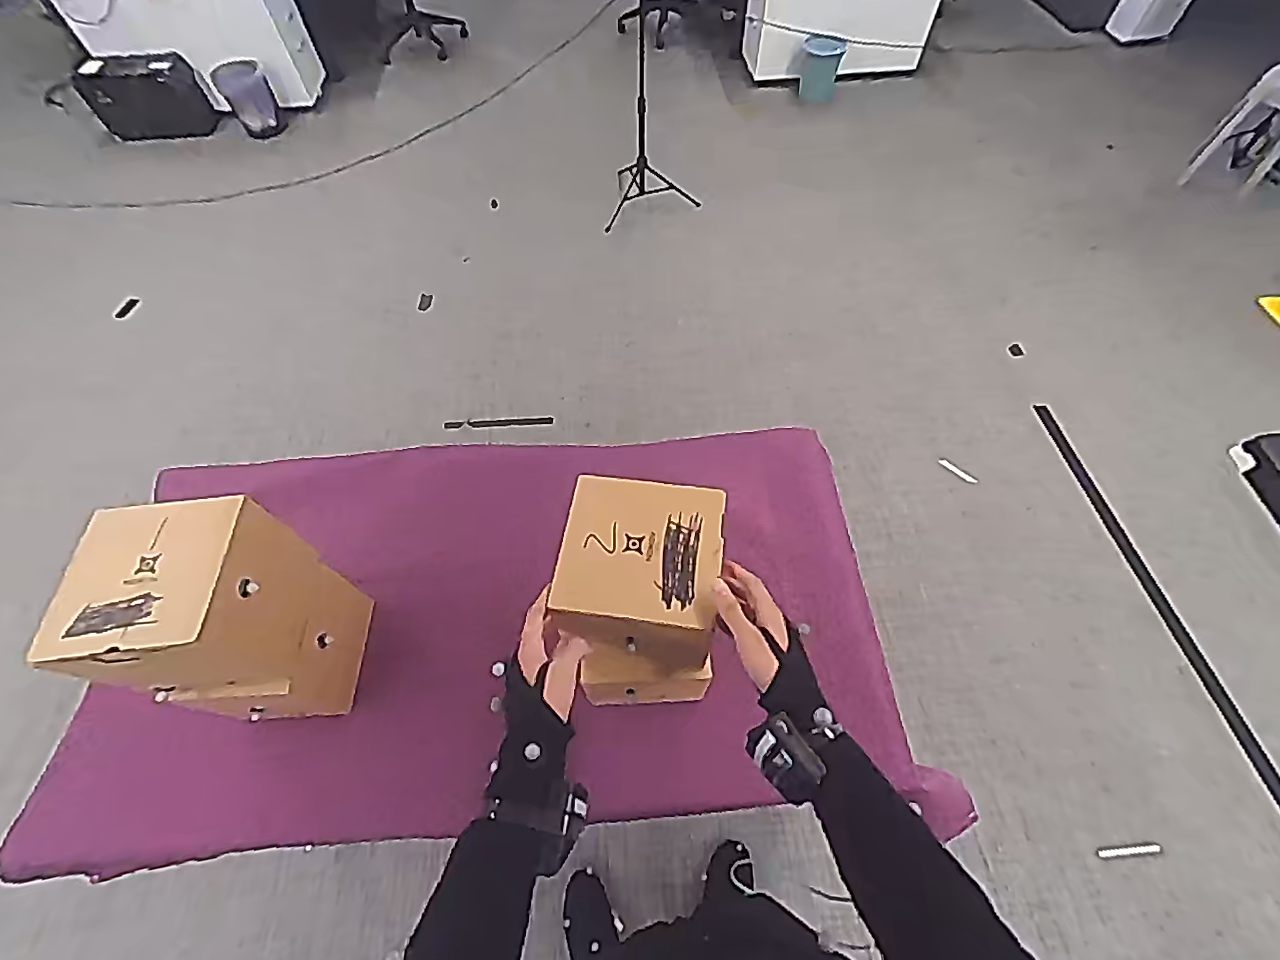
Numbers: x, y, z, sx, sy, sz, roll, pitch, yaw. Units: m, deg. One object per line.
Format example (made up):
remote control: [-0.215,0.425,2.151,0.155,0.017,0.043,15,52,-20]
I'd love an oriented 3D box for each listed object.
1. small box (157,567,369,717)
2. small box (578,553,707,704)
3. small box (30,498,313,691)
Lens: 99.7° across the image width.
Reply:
small box: [-0.516,0.238,0.775,0.168,0.176,0.179,-2,59,-1]
small box: [0.004,0.221,0.783,0.168,0.176,0.179,-3,58,0]
small box: [-0.523,0.143,0.641,0.168,0.176,0.179,-6,58,-3]
